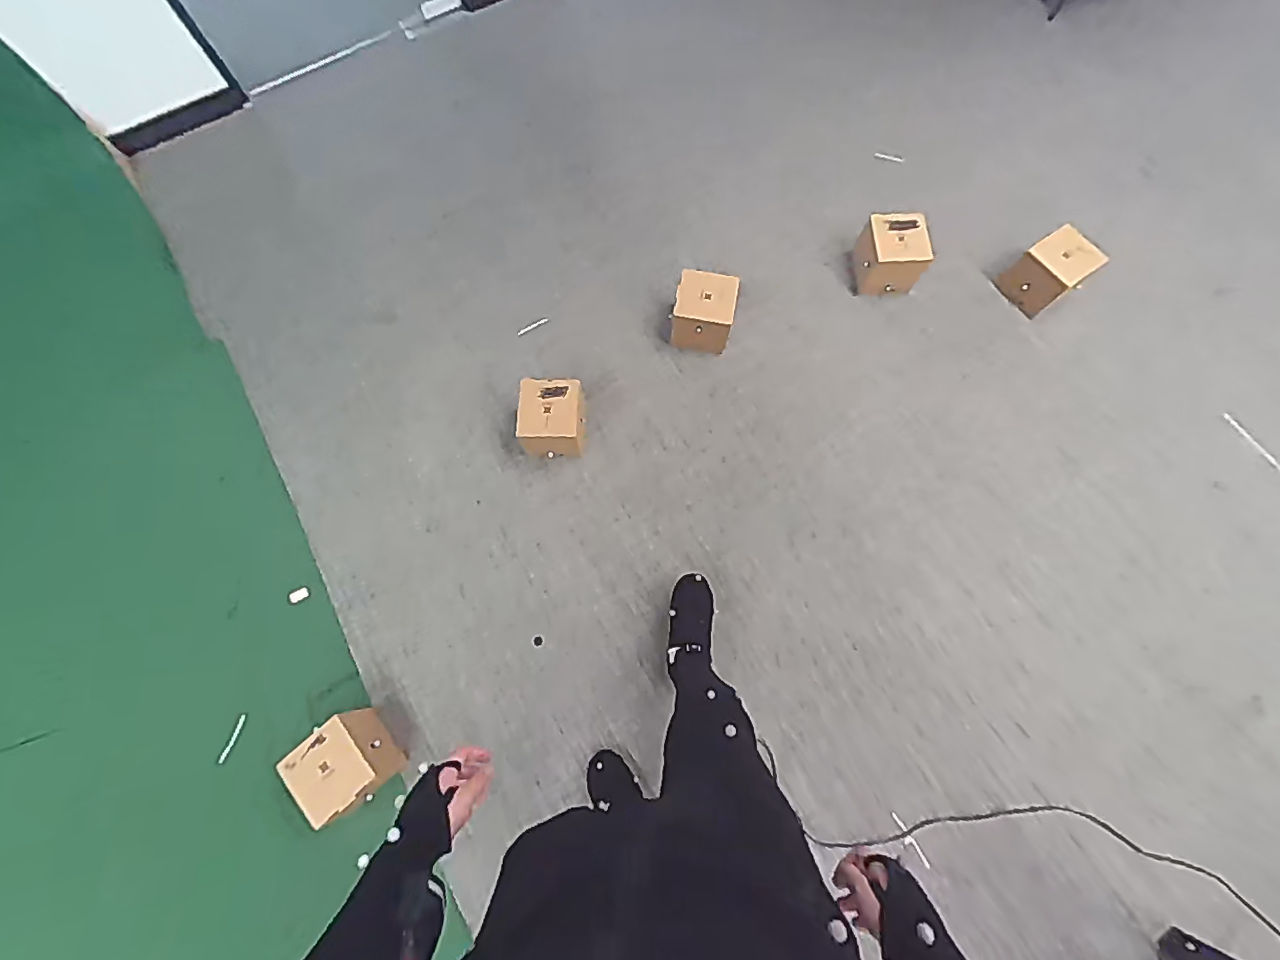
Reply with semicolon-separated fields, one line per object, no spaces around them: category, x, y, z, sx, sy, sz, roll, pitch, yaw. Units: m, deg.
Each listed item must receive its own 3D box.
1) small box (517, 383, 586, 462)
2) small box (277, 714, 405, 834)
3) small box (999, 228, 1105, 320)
small box;-0.249;-0.163;1.557;0.168;0.176;0.179;1;72;1
small box;-0.700;0.685;1.287;0.168;0.176;0.179;-41;76;-11
small box;1.270;-0.635;1.688;0.179;0.176;0.168;-34;75;-10
